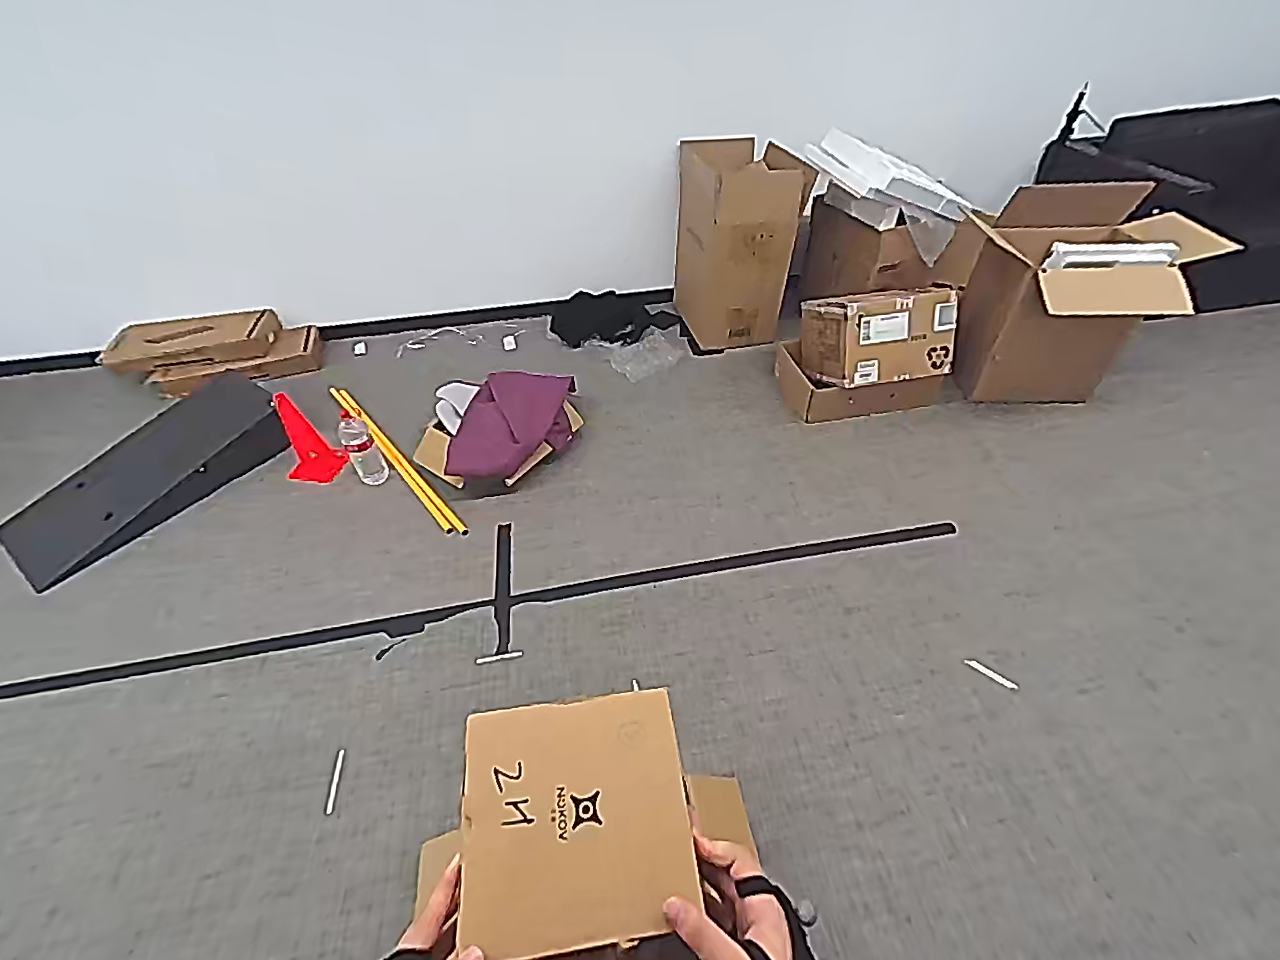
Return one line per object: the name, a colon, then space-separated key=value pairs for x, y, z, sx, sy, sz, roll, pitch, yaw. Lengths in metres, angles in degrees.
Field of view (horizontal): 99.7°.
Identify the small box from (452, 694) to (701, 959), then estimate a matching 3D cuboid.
small box: x=-0.055 y=0.308 z=0.485 sx=0.179 sy=0.176 sz=0.168 roll=-6 pitch=53 yaw=-6
